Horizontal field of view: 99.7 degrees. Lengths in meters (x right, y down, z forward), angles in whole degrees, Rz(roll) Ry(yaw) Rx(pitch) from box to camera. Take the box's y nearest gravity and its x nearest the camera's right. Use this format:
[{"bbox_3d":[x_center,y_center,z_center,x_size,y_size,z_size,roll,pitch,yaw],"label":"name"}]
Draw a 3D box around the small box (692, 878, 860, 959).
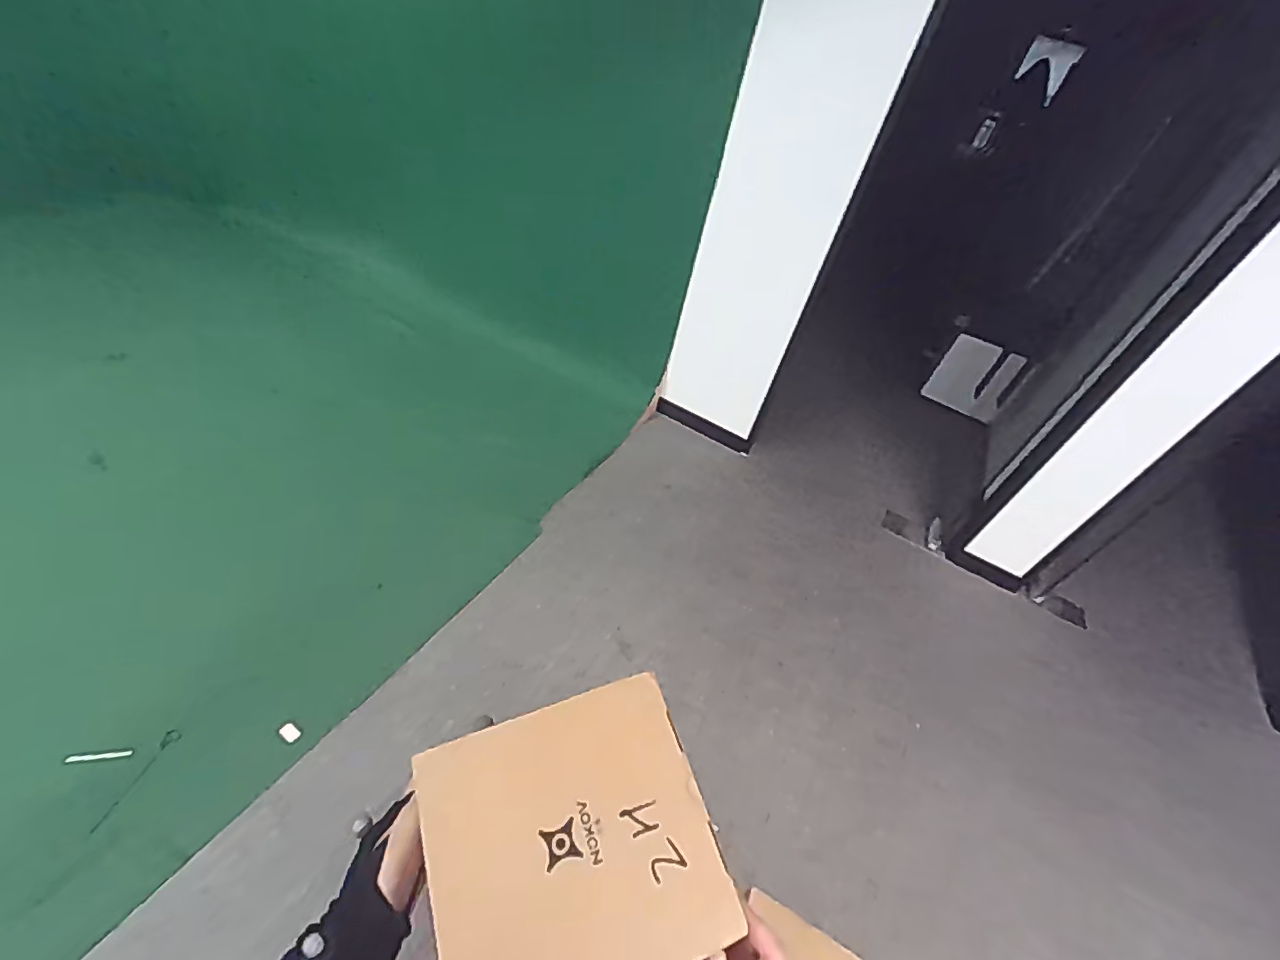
[{"bbox_3d":[0.172,0.706,0.750,0.179,0.176,0.168,28,43,15],"label":"small box"}]
